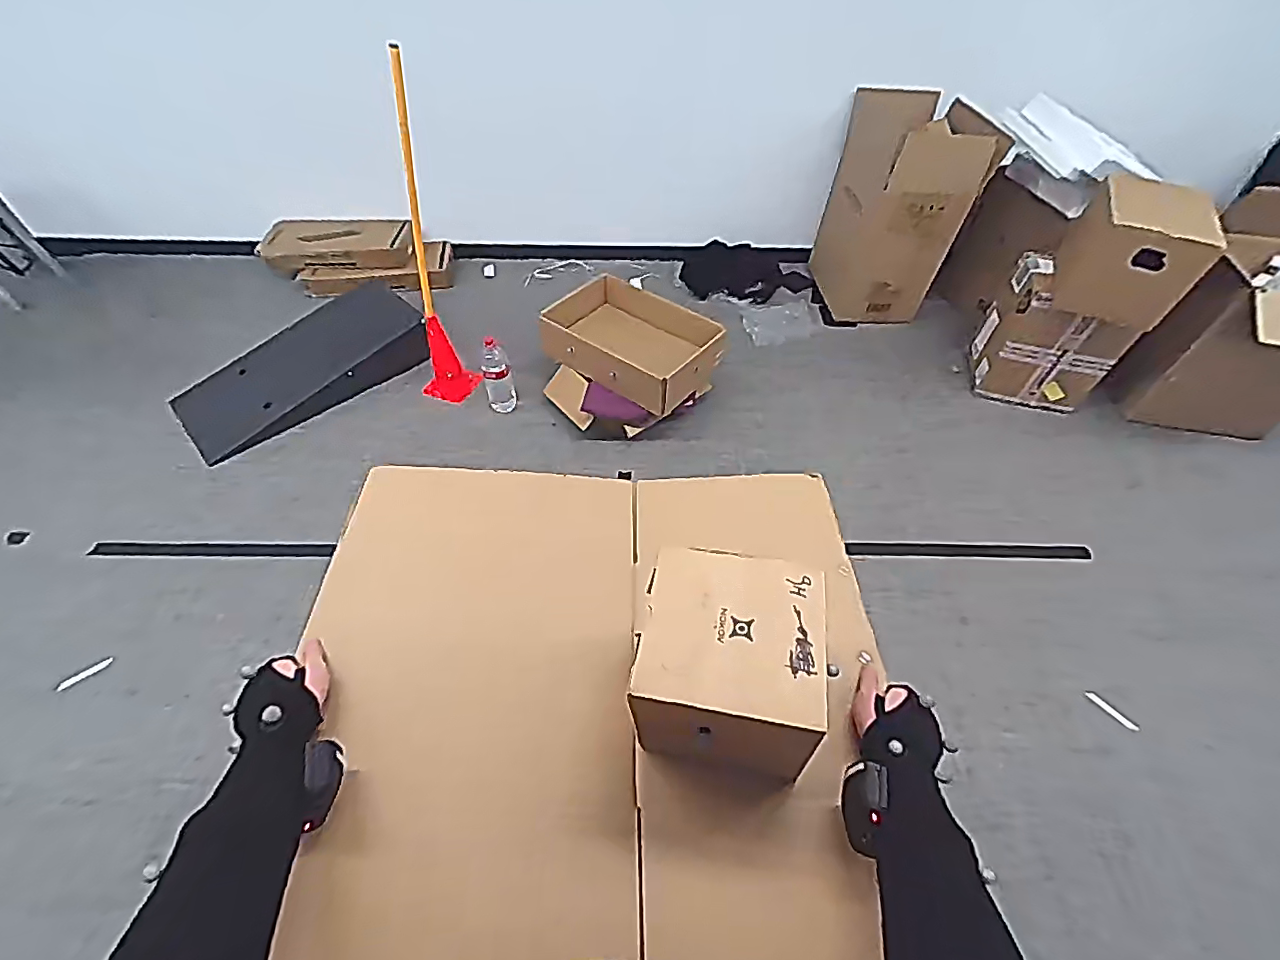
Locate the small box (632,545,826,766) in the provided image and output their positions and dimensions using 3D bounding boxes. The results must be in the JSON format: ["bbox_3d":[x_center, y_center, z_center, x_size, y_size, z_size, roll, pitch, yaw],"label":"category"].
[{"bbox_3d":[0.100,0.193,0.589,0.179,0.176,0.168,6,50,11],"label":"small box"}]
